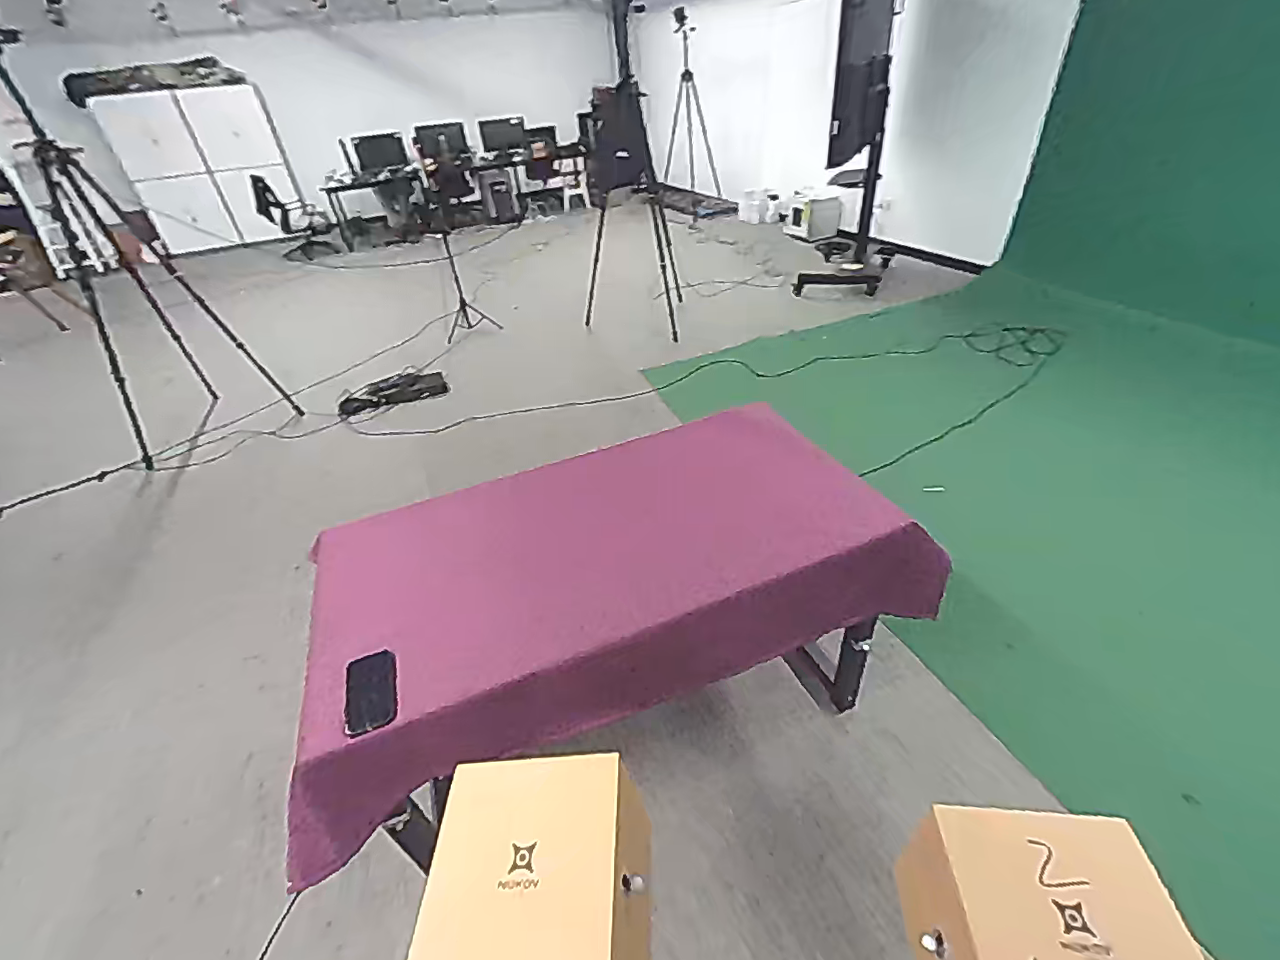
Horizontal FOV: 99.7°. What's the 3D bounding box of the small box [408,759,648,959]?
[{"bbox_3d":[-0.086,0.390,0.505,0.168,0.176,0.179,-7,40,6],"label":"small box"}]
